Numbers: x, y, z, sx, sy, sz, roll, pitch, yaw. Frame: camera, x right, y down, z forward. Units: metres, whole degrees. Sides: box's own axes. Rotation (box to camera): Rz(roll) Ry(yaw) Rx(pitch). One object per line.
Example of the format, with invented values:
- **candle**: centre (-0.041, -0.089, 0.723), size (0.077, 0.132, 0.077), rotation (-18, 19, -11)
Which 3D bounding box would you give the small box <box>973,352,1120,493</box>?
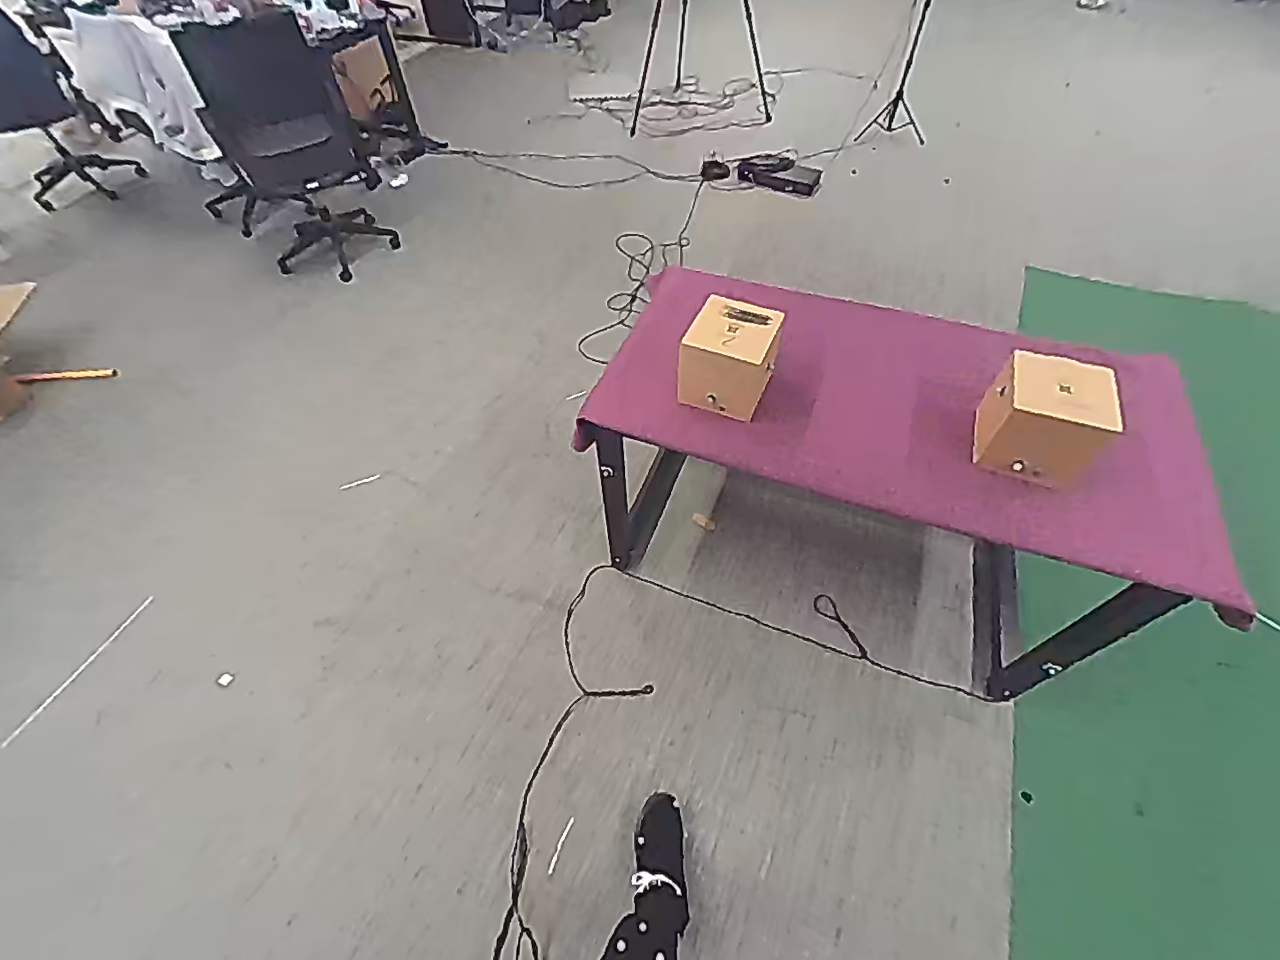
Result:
- **small box**: centre (0.758, -0.108, 1.025), size (0.168, 0.176, 0.179), rotation (18, 55, 17)
